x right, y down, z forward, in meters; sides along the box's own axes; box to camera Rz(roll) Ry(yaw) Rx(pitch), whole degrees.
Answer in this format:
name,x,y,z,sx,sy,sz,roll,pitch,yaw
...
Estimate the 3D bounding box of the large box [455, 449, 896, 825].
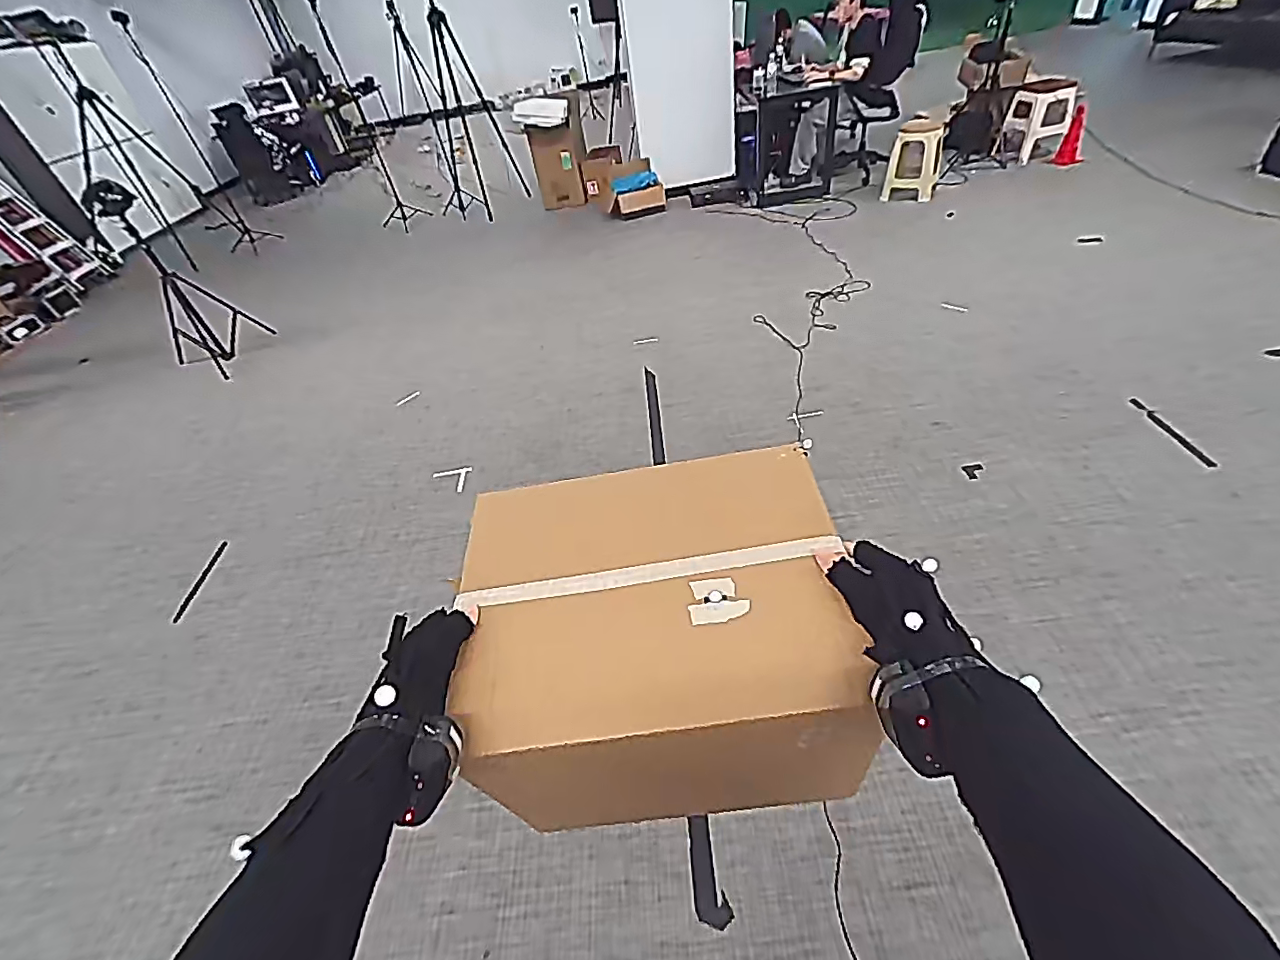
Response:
name,x,y,z,sx,sy,sz,roll,pitch,yaw
large box,0.035,0.203,0.682,0.408,0.320,0.320,-9,47,3
